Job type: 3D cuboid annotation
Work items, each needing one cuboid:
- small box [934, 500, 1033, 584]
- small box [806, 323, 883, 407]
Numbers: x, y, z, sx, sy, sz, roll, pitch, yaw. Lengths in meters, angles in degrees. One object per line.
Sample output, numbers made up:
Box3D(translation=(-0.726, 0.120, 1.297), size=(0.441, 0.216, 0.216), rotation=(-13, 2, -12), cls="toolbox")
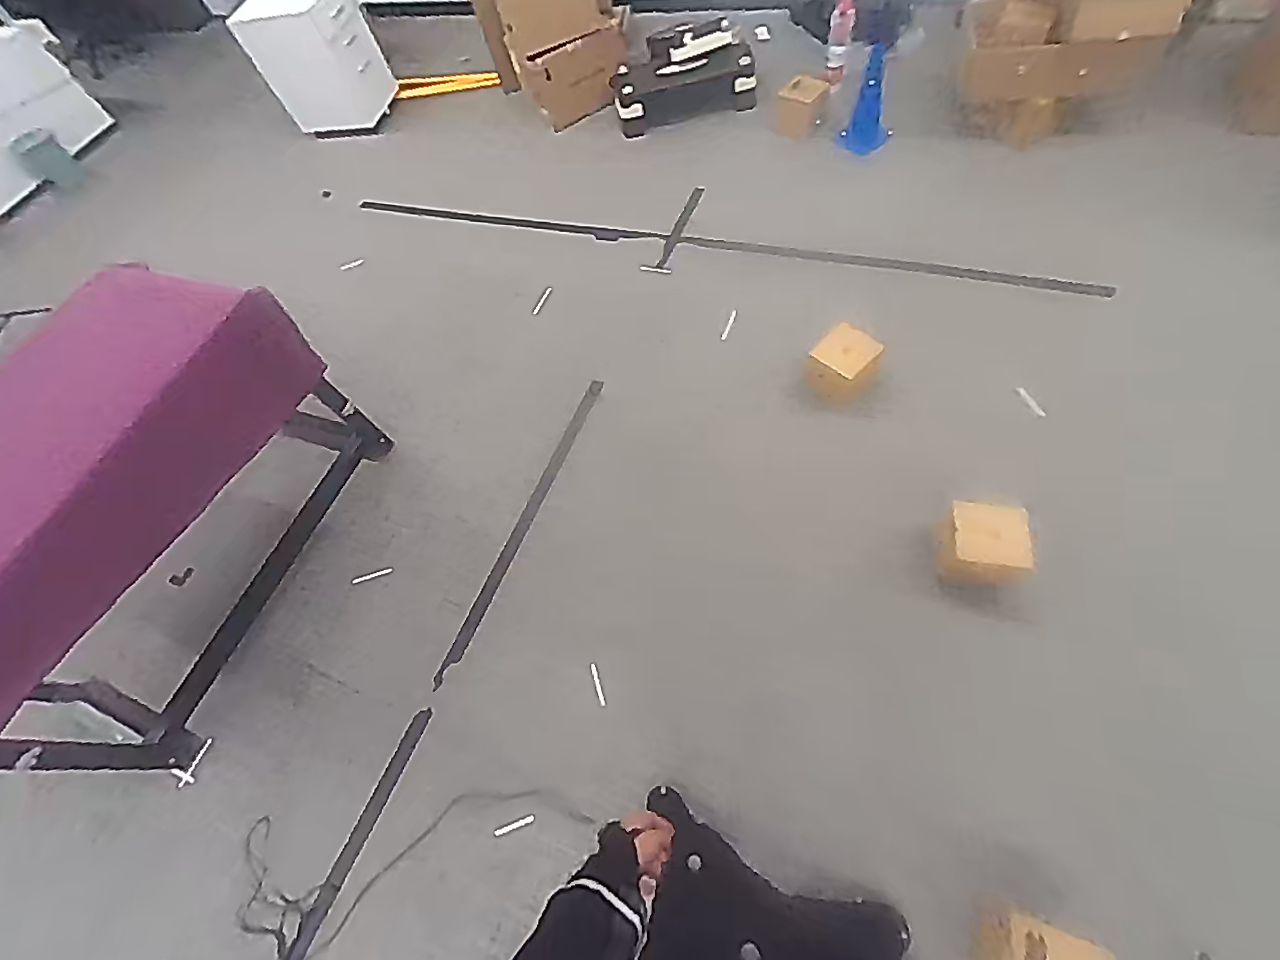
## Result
Box3D(translation=(0.908, 0.171, 1.443), size=(0.179, 0.176, 0.168), rotation=(6, 64, 14), cls="small box")
Box3D(translation=(0.665, -0.373, 1.780), size=(0.179, 0.176, 0.168), rotation=(-42, 63, -12), cls="small box")
